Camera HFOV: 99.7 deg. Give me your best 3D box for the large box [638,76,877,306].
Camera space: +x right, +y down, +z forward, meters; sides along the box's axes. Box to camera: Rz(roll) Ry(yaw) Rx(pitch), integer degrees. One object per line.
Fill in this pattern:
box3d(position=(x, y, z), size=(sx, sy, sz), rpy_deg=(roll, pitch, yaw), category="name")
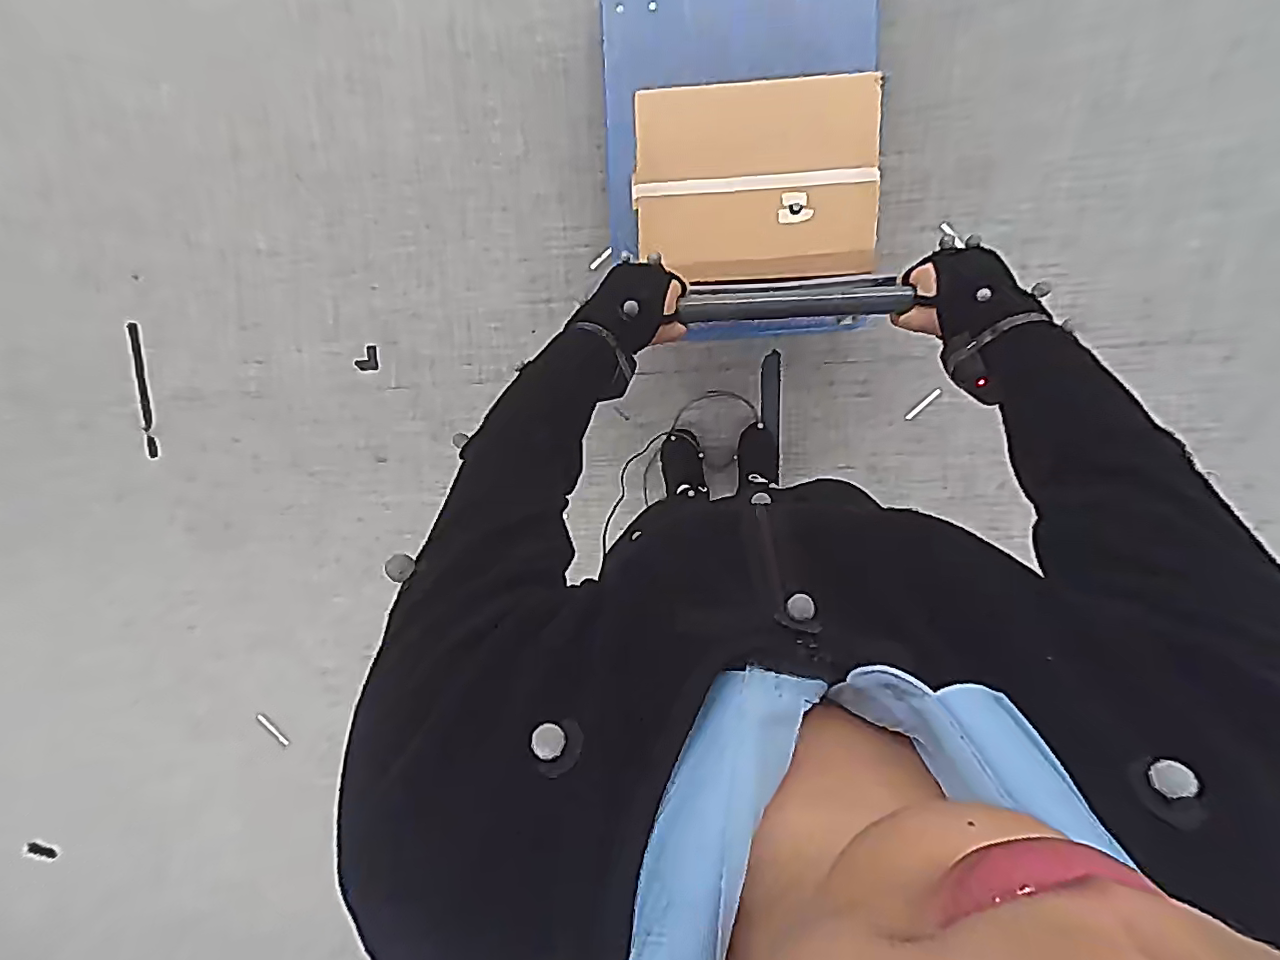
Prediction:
box3d(position=(0.210, -0.538, 1.080), size=(0.408, 0.320, 0.320), rpy_deg=(-1, 101, 5), category="large box")
